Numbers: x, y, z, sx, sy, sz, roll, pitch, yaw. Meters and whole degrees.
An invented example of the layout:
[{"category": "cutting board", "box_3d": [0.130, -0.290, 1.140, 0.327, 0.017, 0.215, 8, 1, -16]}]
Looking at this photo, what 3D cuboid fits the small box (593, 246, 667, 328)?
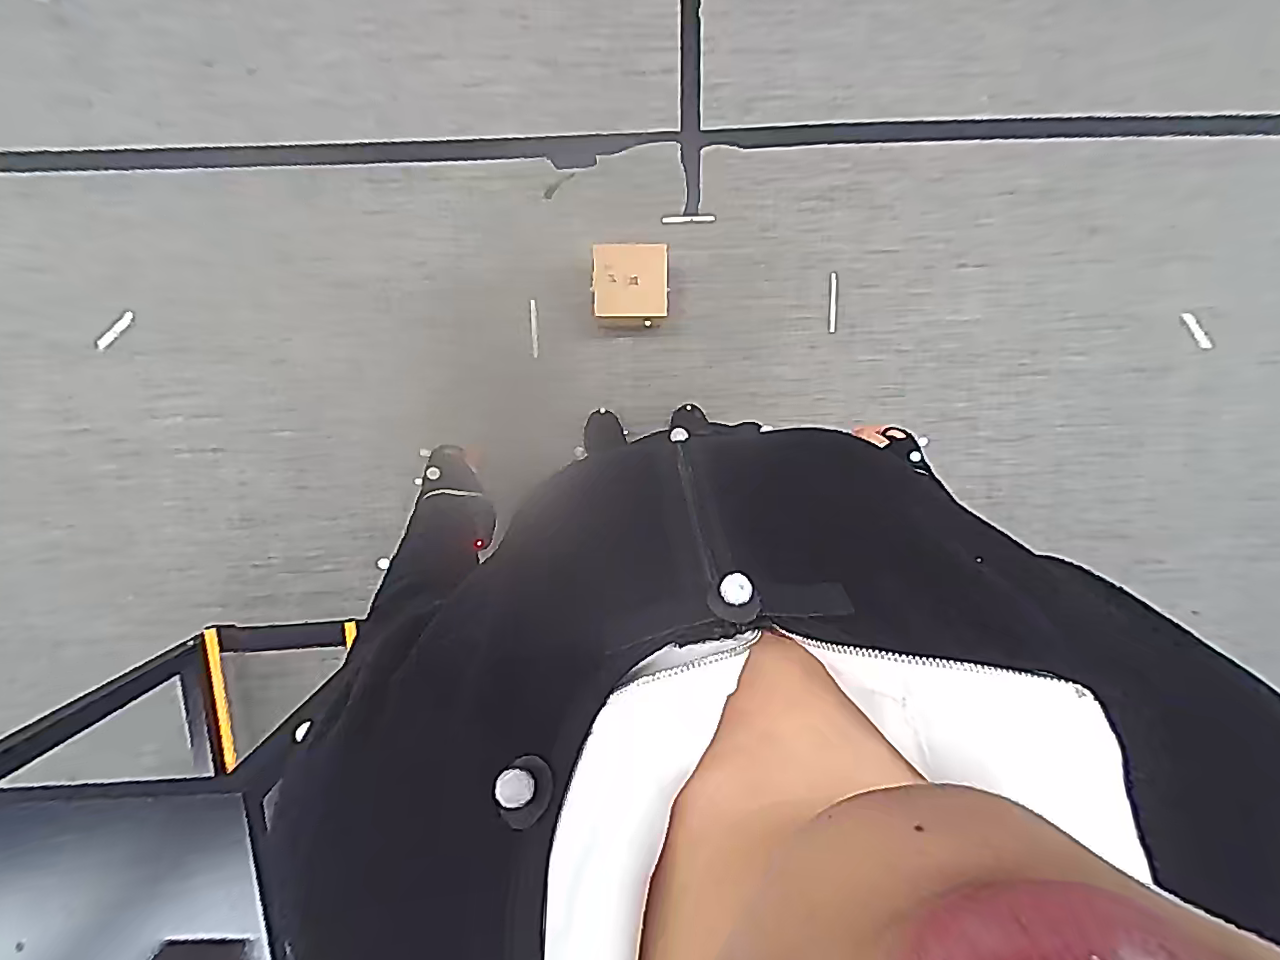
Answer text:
[{"category": "small box", "box_3d": [-0.026, -0.479, 1.354, 0.179, 0.176, 0.168, -1, 98, -1]}]
